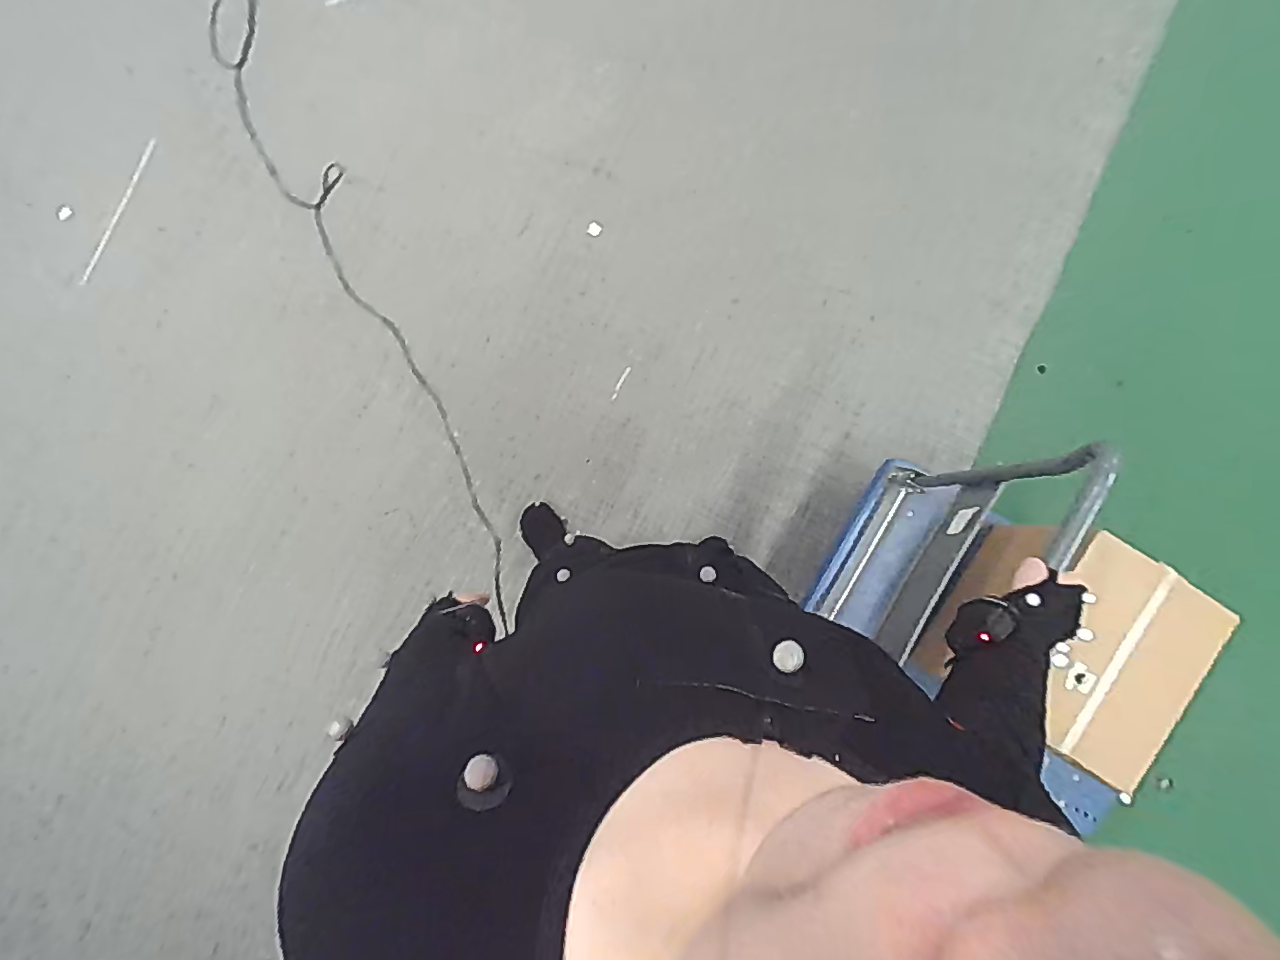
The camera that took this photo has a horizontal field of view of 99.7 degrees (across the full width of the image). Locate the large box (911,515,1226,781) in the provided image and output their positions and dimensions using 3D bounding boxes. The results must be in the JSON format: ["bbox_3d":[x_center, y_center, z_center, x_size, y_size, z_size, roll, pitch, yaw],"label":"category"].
[{"bbox_3d":[0.889,0.327,1.177,0.320,0.320,0.408,33,89,2],"label":"large box"}]
